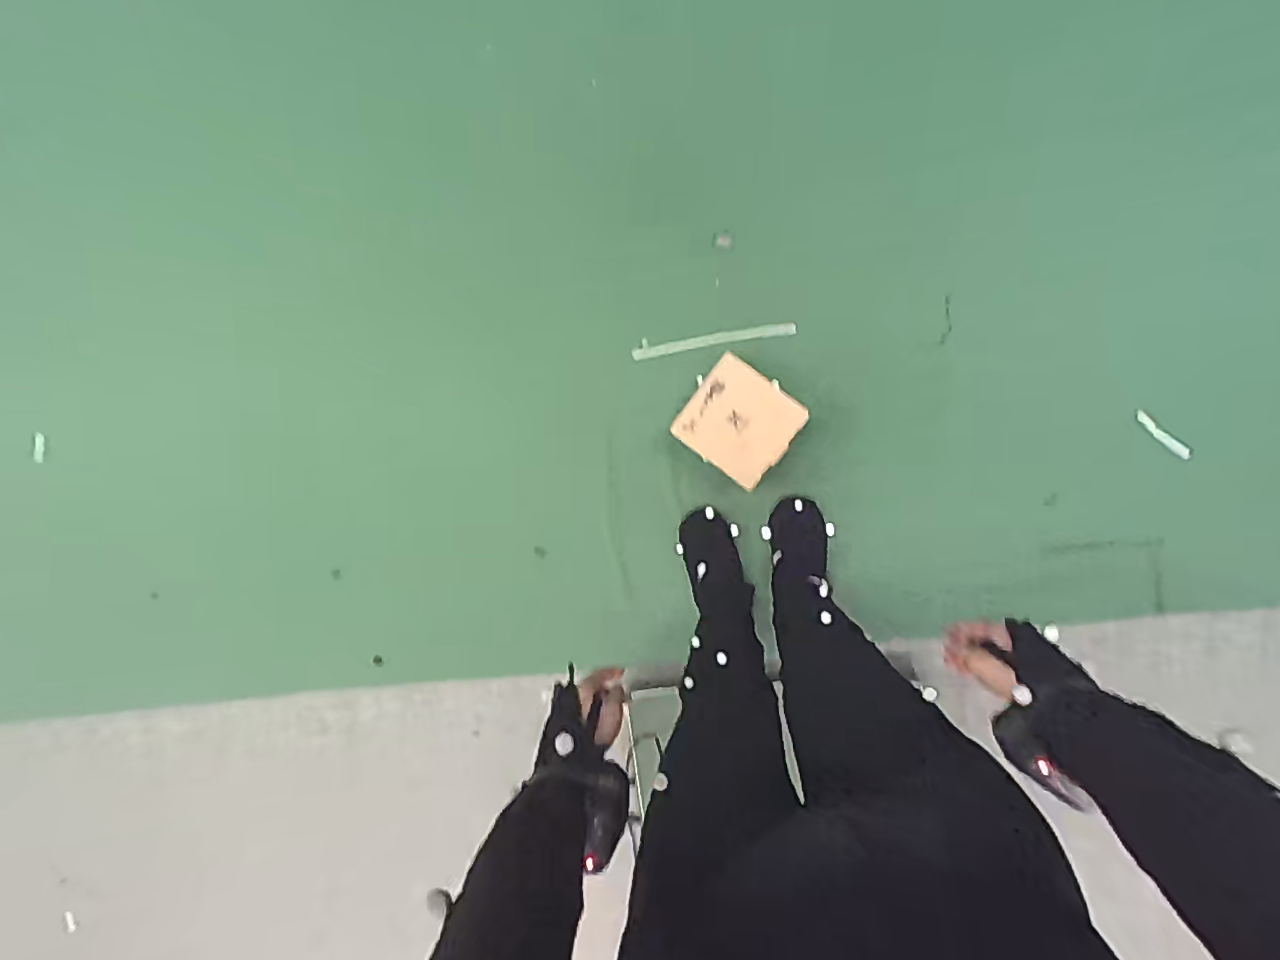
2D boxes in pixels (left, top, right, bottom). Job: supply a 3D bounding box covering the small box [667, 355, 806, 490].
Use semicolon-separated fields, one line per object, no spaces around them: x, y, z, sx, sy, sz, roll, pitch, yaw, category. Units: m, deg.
0.171;-0.109;0.988;0.179;0.176;0.168;37;101;0;small box
